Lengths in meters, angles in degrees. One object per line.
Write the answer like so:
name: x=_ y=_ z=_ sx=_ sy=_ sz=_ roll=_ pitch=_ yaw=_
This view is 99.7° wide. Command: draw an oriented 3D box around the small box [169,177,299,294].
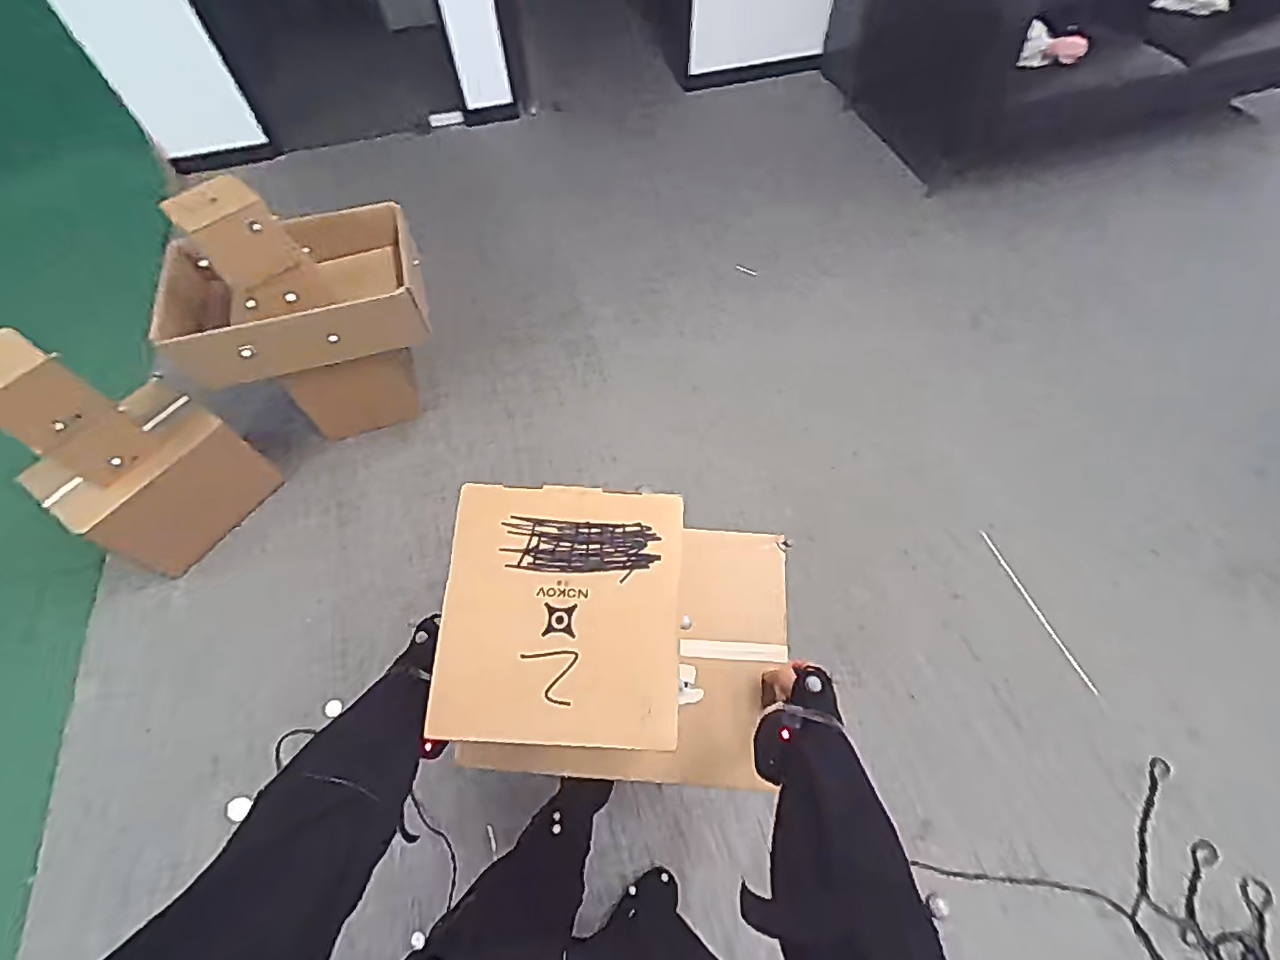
small box: x=-0.975 y=-0.593 z=1.320 sx=0.168 sy=0.176 sz=0.179 roll=40 pitch=68 yaw=22

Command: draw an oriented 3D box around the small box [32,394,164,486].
small box: x=-1.365 y=-0.115 z=1.349 sx=0.179 sy=0.176 sz=0.168 roll=33 pitch=65 yaw=18

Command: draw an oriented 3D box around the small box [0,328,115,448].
small box: x=-1.360 y=-0.200 z=1.210 sx=0.179 sy=0.176 sz=0.168 roll=30 pitch=64 yaw=17

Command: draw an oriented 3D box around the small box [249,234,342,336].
small box: x=-0.960 y=-0.529 z=1.472 sx=0.168 sy=0.176 sz=0.179 roll=39 pitch=68 yaw=20

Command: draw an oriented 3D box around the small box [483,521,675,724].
small box: x=-0.058 y=0.160 z=0.606 sx=0.168 sy=0.176 sz=0.179 roll=8 pitch=71 yaw=2
